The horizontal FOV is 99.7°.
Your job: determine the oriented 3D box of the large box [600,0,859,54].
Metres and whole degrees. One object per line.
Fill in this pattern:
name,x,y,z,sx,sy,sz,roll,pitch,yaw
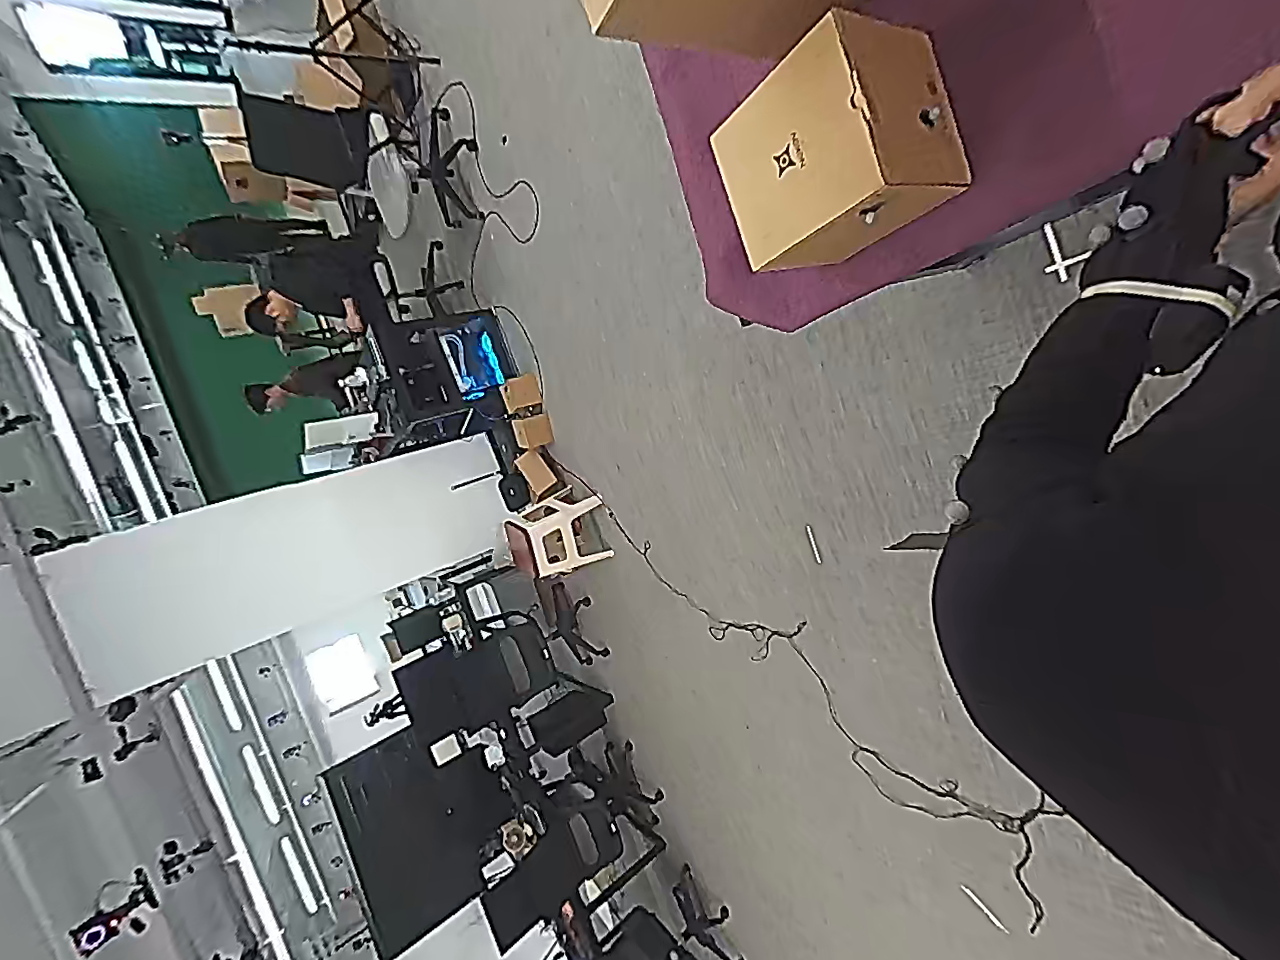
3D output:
large box,0.098,-0.684,0.463,0.320,0.320,0.408,-11,102,58

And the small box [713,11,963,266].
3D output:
small box,0.218,-0.362,0.607,0.179,0.176,0.168,-16,94,58
